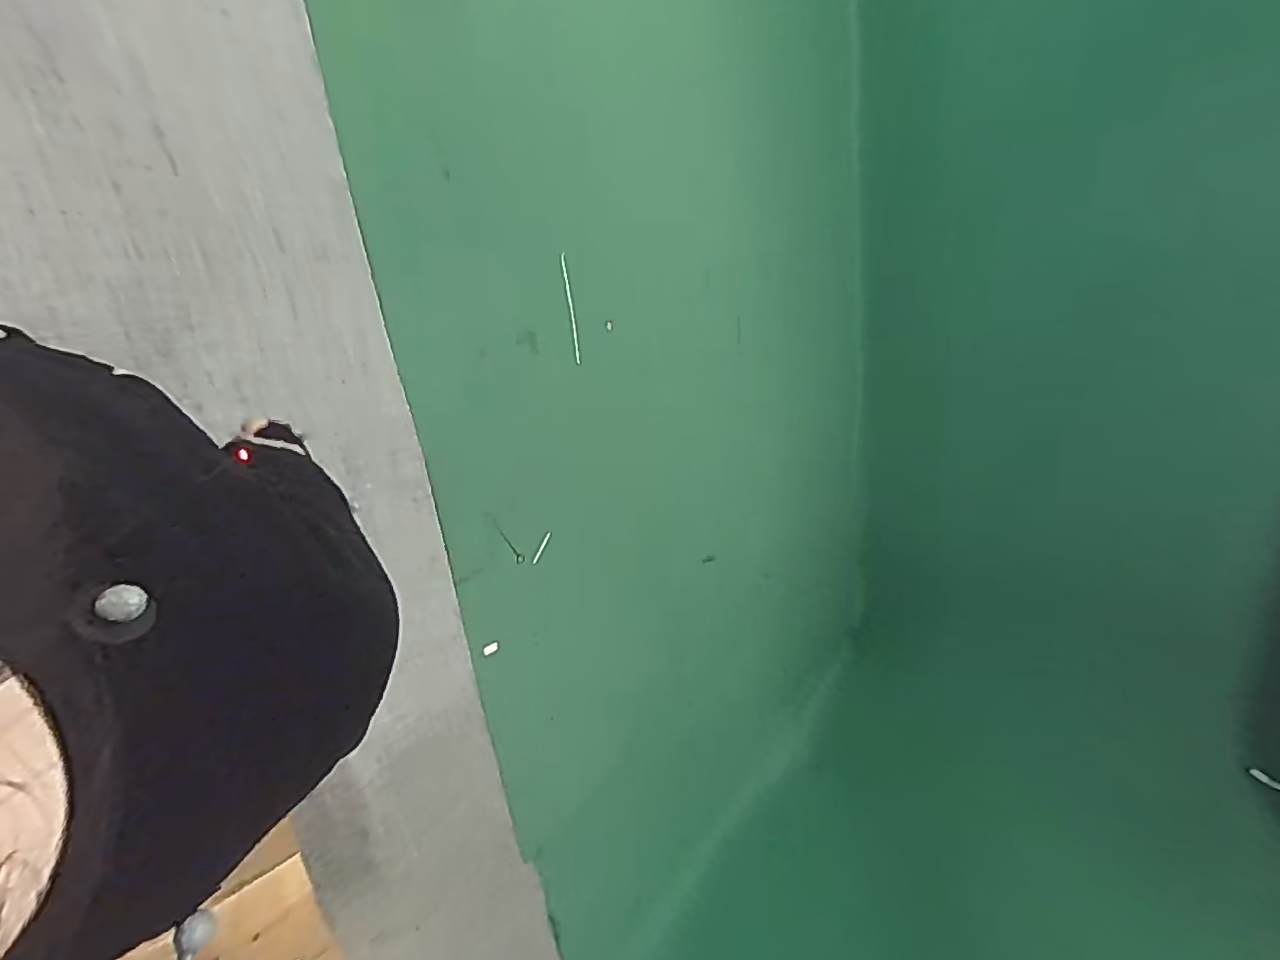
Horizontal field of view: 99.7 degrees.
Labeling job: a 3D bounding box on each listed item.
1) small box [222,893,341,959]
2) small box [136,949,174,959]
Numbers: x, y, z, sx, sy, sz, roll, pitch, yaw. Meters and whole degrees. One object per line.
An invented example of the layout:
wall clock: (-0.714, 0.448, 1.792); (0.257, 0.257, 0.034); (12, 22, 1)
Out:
small box: (-0.718, 1.006, 1.097); (0.168, 0.176, 0.179); (-16, 111, -46)
small box: (-0.878, 0.958, 0.913); (0.168, 0.176, 0.179); (-14, 109, -43)
